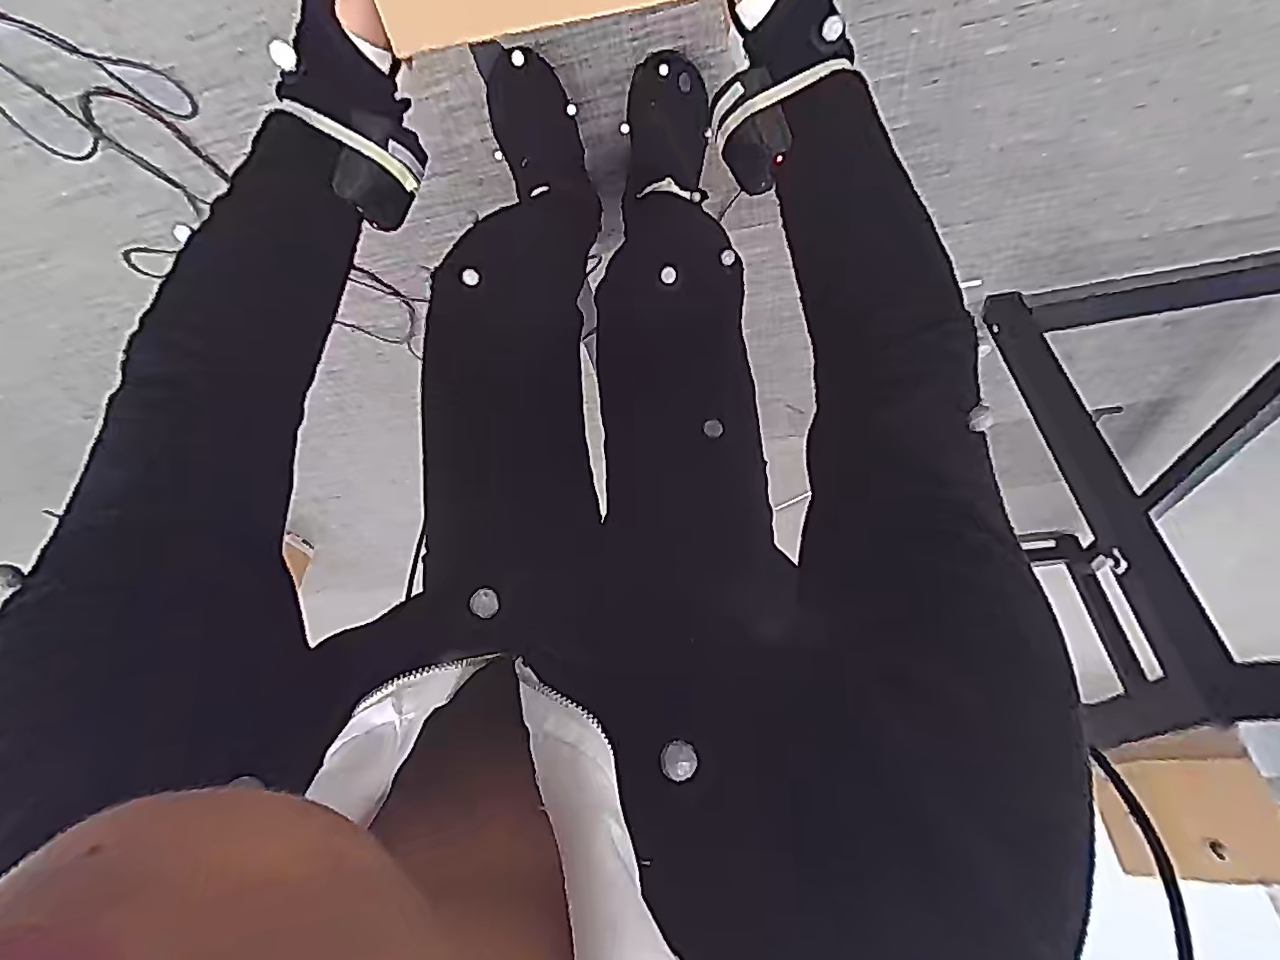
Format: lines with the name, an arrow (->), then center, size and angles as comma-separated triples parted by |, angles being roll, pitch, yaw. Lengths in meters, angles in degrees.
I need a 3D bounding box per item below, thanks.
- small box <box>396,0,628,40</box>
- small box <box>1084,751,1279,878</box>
small box -> -0.049, -0.347, 0.255 | 0.168, 0.176, 0.179 | -6, 140, 7
small box -> 0.916, 0.565, 0.915 | 0.179, 0.176, 0.168 | -2, 147, 1
